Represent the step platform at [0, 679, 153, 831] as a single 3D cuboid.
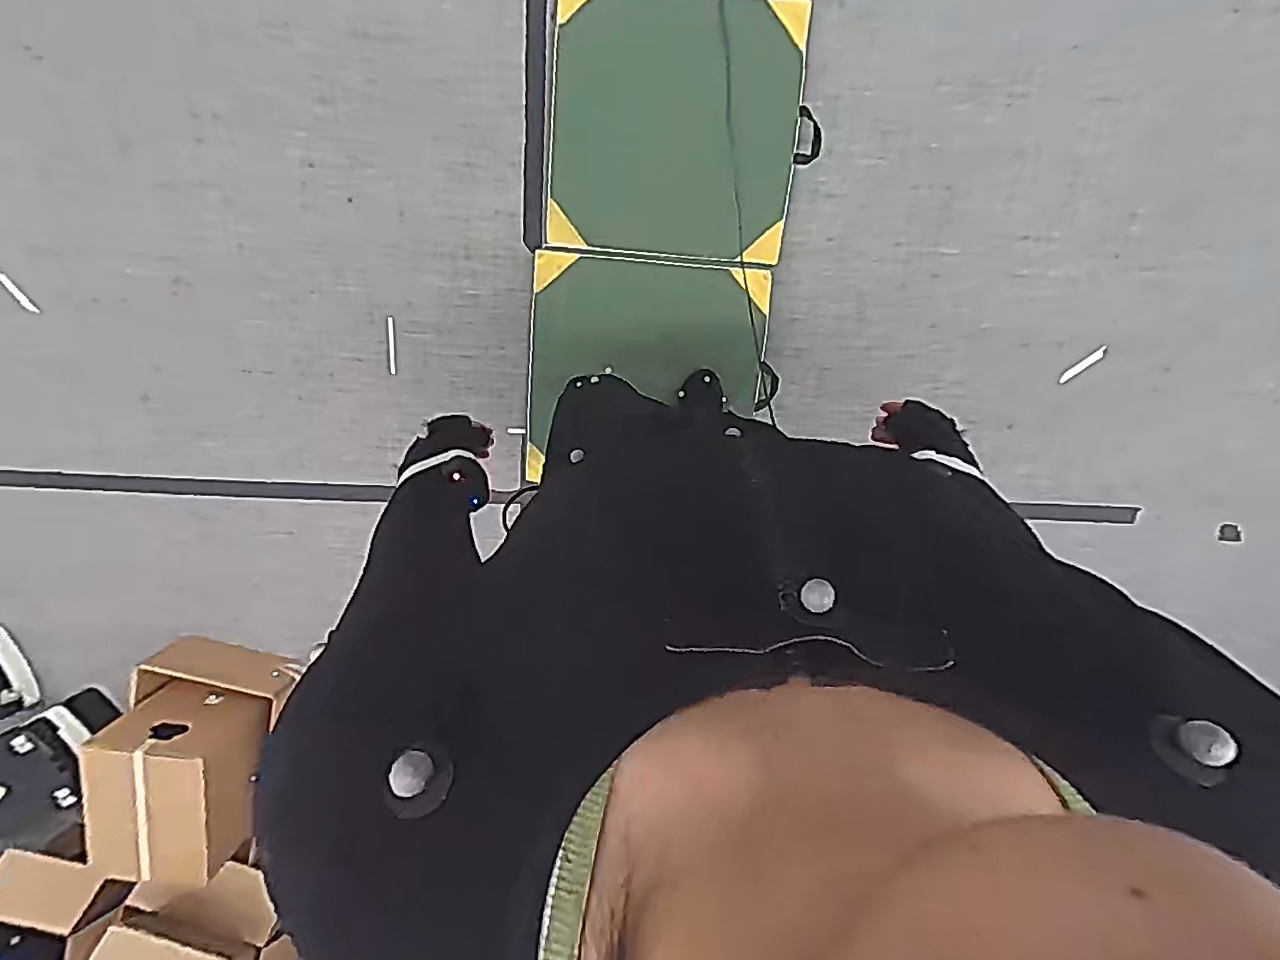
[{"bbox_3d":[-1.939,0.897,1.687,0.684,0.204,0.286,-25,101,5],"label":"step platform"}]
